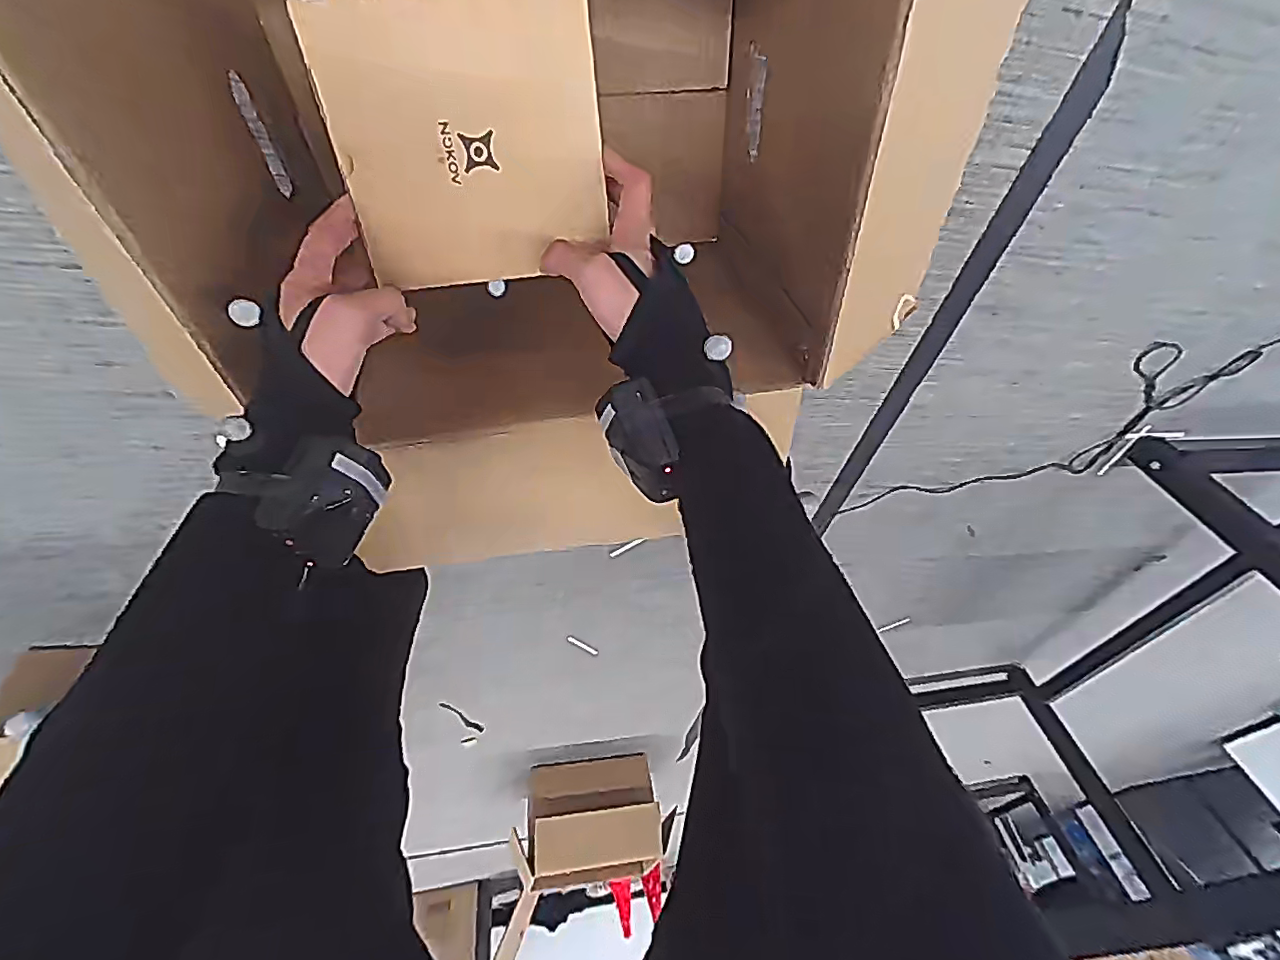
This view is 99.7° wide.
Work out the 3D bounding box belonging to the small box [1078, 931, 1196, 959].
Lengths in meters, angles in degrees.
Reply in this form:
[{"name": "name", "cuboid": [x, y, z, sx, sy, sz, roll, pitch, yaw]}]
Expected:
[{"name": "small box", "cuboid": [1.116, 1.112, 1.178, 0.168, 0.176, 0.179, -1, 134, -15]}]
